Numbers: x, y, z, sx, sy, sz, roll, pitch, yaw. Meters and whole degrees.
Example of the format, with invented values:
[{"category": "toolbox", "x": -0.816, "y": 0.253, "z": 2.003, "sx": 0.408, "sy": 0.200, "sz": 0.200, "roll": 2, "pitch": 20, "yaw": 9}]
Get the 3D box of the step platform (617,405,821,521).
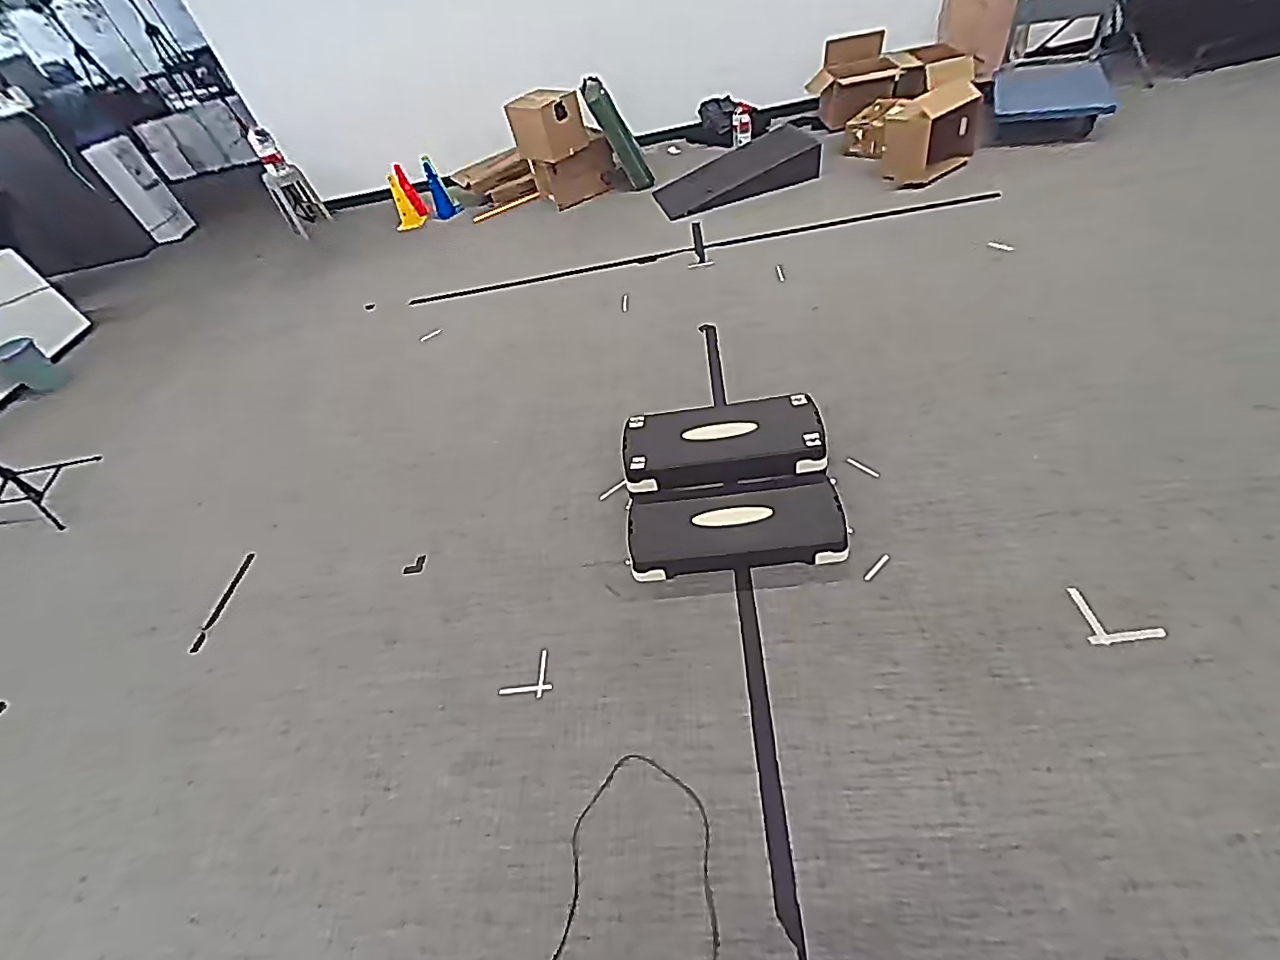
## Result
[{"category": "step platform", "x": 0.262, "y": -0.062, "z": 1.864, "sx": 0.684, "sy": 0.204, "sz": 0.286, "roll": -8, "pitch": 48, "yaw": 6}]
